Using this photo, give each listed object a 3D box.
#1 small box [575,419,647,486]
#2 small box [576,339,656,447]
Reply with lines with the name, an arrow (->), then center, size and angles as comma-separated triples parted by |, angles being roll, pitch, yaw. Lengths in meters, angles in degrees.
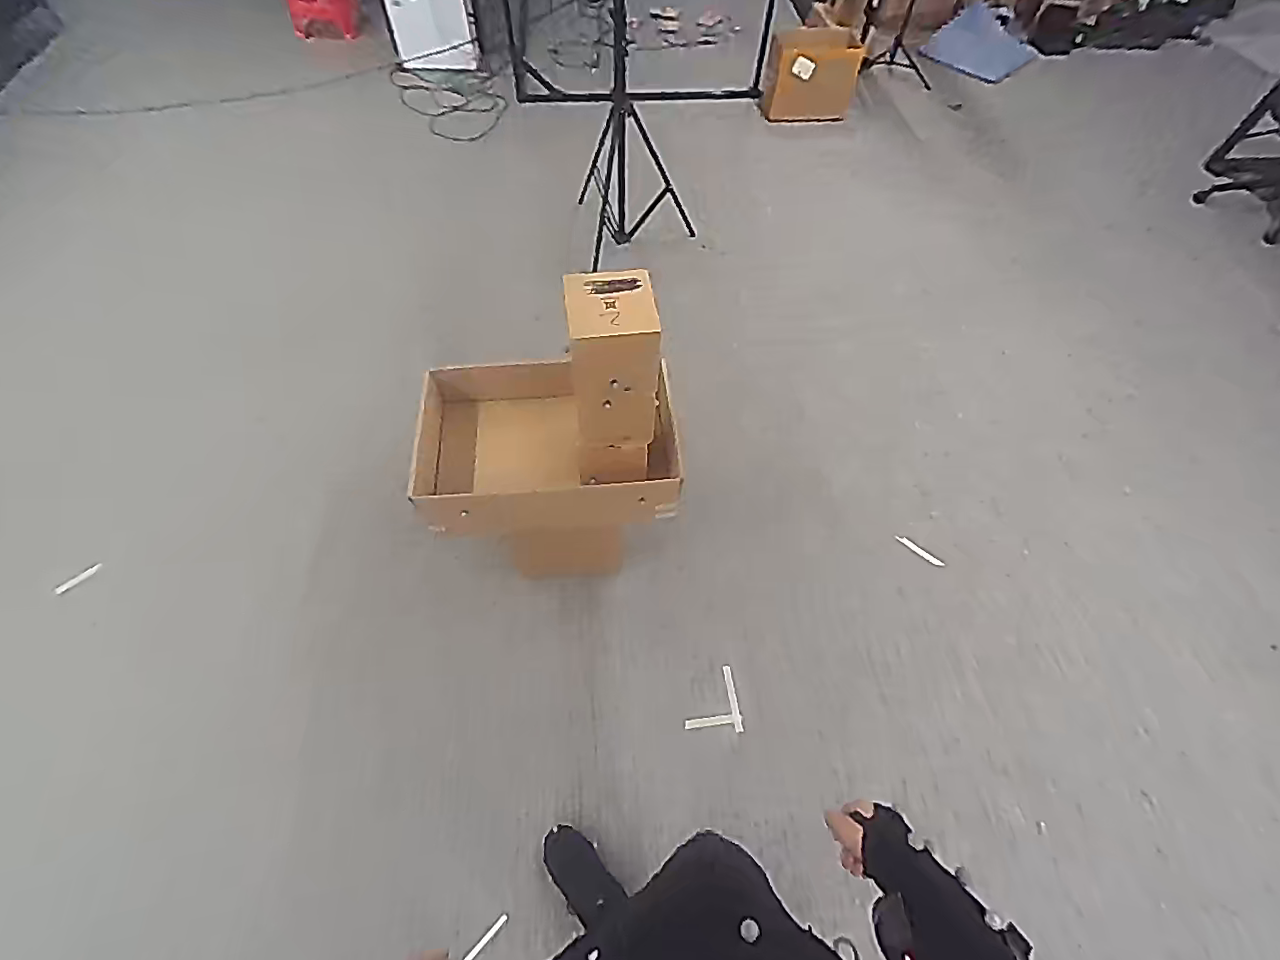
small box -> -0.066, -0.098, 1.336 | 0.168, 0.176, 0.179 | 2, 57, -2
small box -> -0.053, -0.192, 1.202 | 0.168, 0.176, 0.179 | -2, 57, -2
